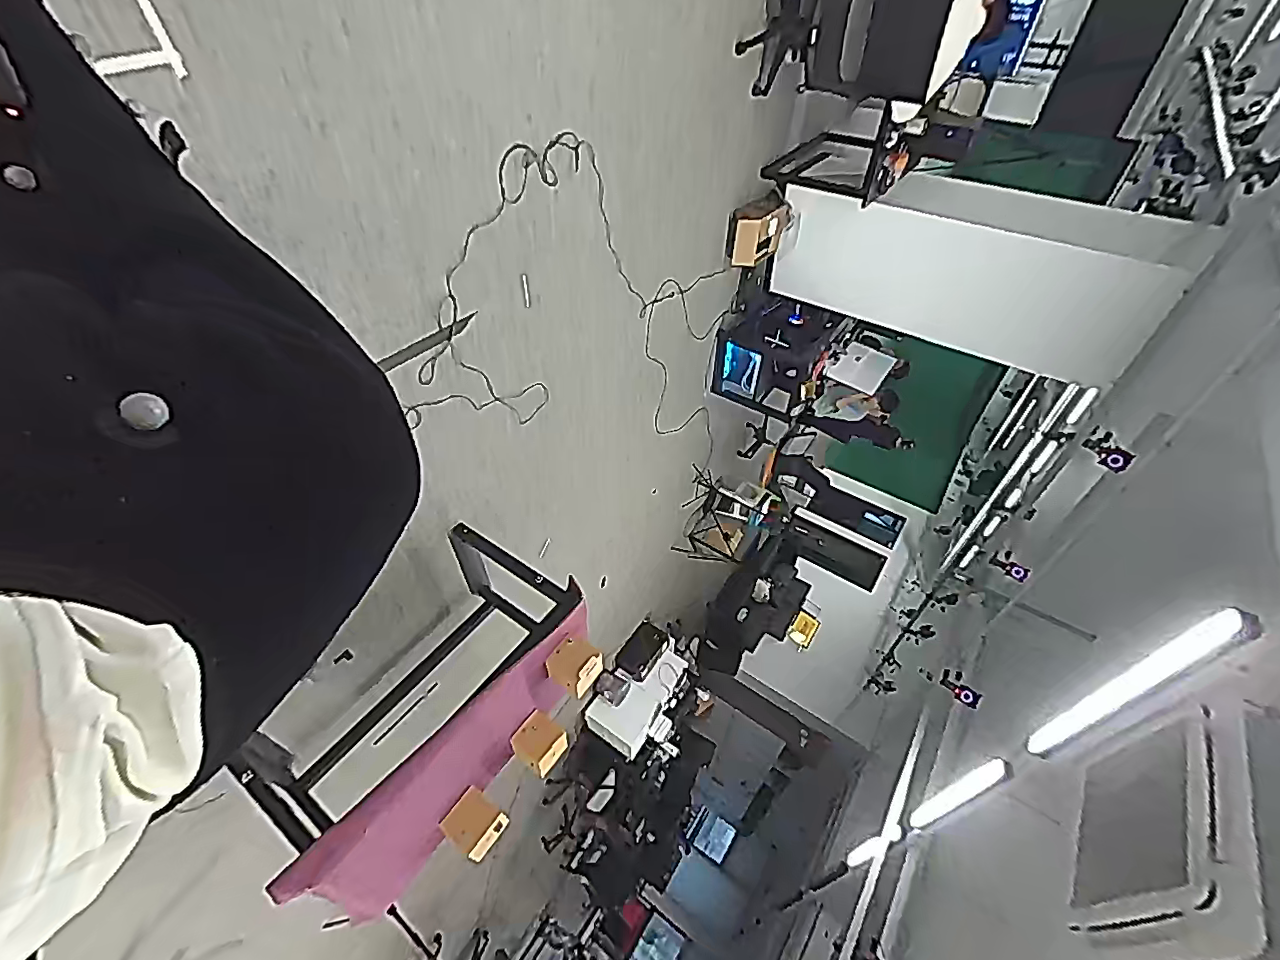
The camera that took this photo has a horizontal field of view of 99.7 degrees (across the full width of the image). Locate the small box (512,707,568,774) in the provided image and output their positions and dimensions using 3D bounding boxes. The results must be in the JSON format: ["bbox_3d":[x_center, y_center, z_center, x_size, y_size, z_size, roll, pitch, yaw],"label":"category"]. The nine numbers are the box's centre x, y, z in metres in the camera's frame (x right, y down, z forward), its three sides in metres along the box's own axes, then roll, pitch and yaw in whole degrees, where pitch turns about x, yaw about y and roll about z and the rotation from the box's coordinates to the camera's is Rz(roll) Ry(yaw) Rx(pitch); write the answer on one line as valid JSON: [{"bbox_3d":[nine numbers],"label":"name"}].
[{"bbox_3d":[-0.432,1.122,2.339,0.168,0.176,0.179,-43,150,-37],"label":"small box"}]

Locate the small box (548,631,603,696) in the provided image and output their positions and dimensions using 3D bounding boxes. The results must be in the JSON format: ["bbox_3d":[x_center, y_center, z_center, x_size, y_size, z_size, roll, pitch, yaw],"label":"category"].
[{"bbox_3d":[-0.275,0.770,2.289,0.168,0.176,0.179,-46,153,-33],"label":"small box"}]
